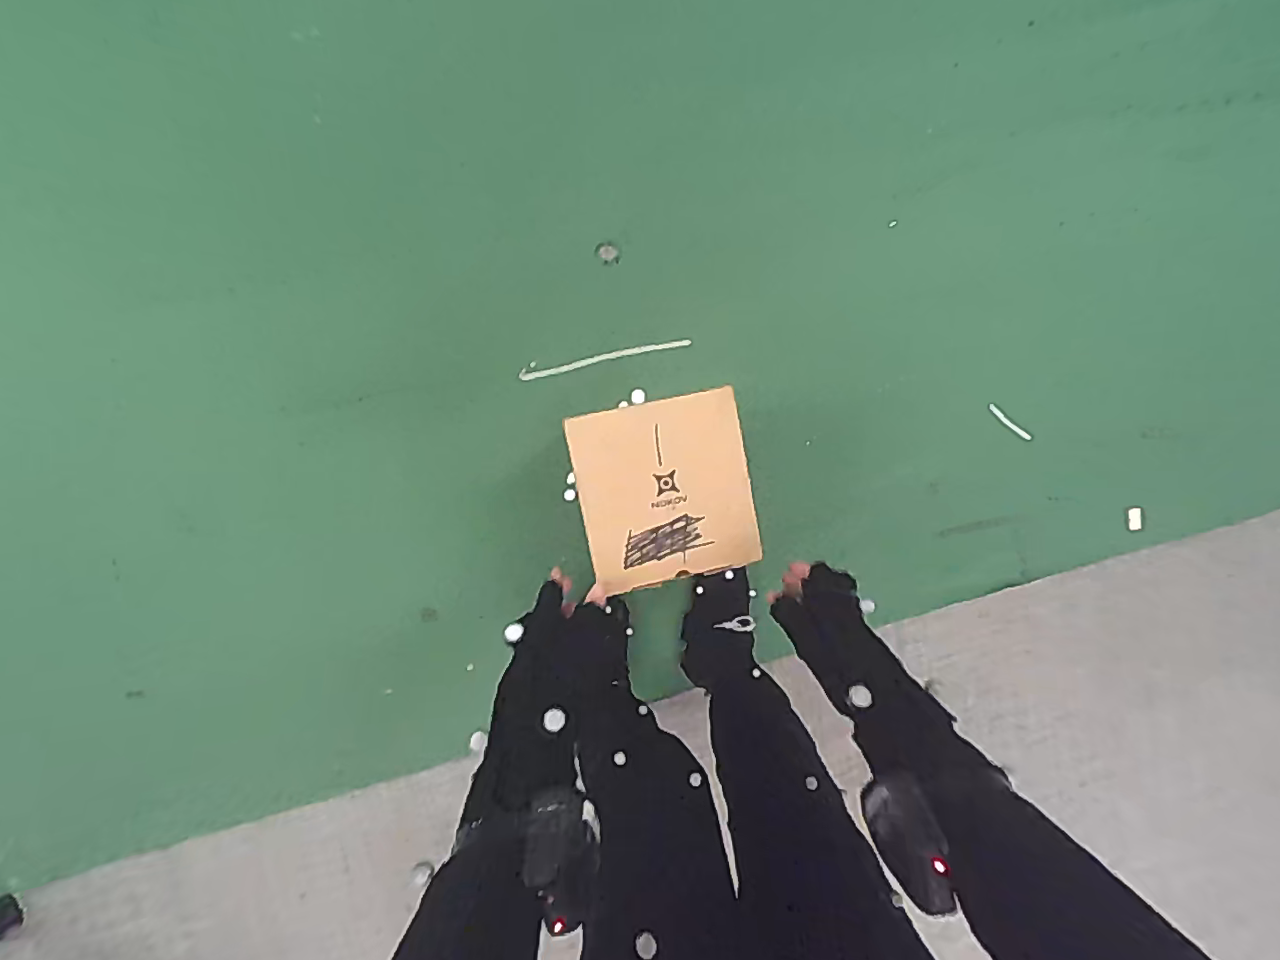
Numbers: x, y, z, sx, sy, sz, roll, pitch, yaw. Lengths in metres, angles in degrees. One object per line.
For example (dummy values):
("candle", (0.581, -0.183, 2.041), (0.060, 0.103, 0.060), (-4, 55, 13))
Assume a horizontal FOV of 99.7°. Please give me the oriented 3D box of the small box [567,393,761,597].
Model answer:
("small box", (0.018, 0.008, 0.602), (0.168, 0.176, 0.179), (-12, 96, -6))
